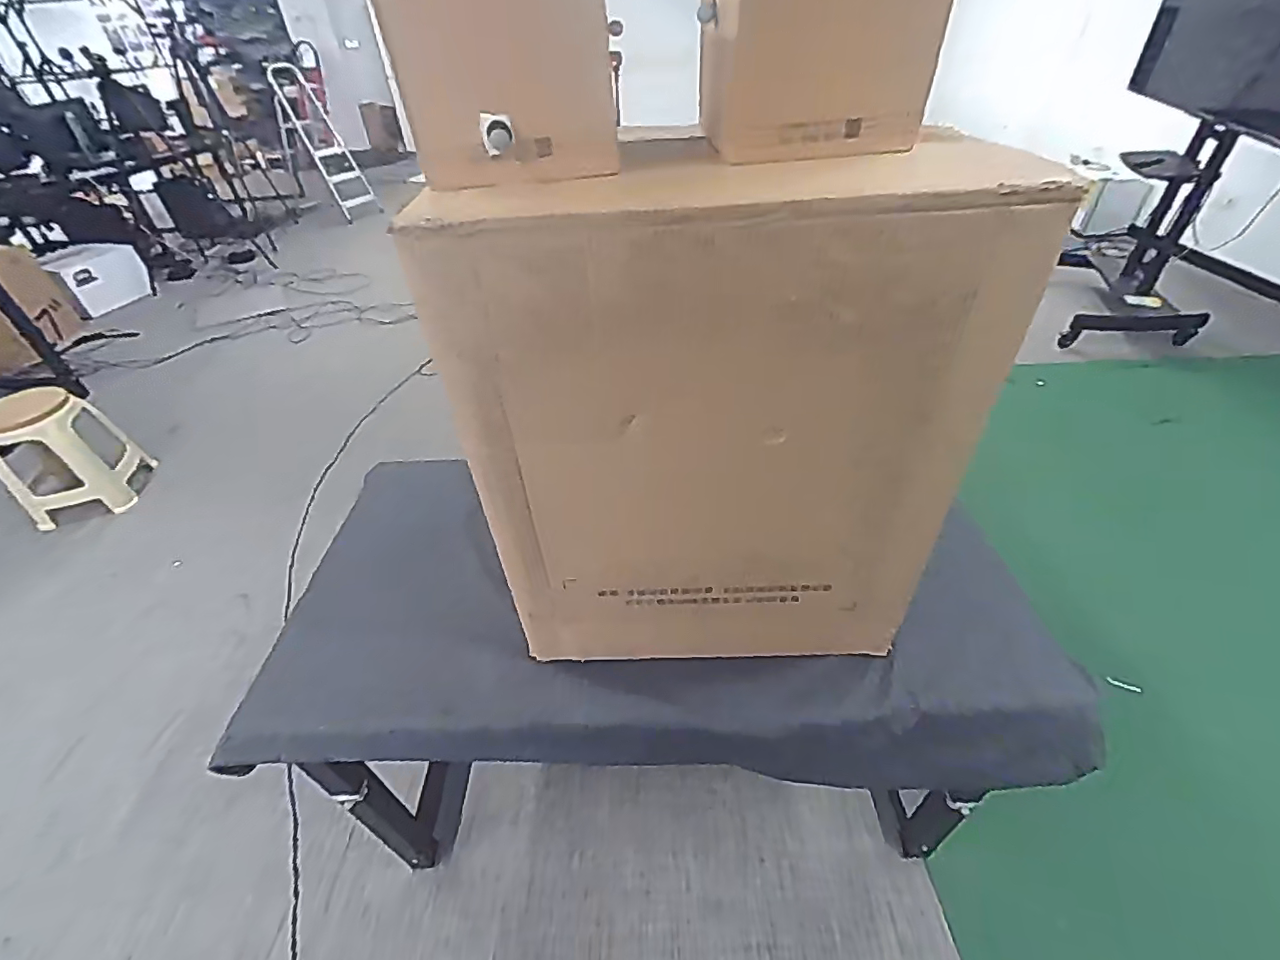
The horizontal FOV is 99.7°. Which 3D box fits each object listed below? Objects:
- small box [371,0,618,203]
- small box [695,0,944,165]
[{"bbox_3d":[-0.112,-0.359,0.470,0.168,0.176,0.179,-7,44,1],"label":"small box"},{"bbox_3d":[0.141,-0.390,0.476,0.168,0.176,0.179,-6,42,-1],"label":"small box"}]
